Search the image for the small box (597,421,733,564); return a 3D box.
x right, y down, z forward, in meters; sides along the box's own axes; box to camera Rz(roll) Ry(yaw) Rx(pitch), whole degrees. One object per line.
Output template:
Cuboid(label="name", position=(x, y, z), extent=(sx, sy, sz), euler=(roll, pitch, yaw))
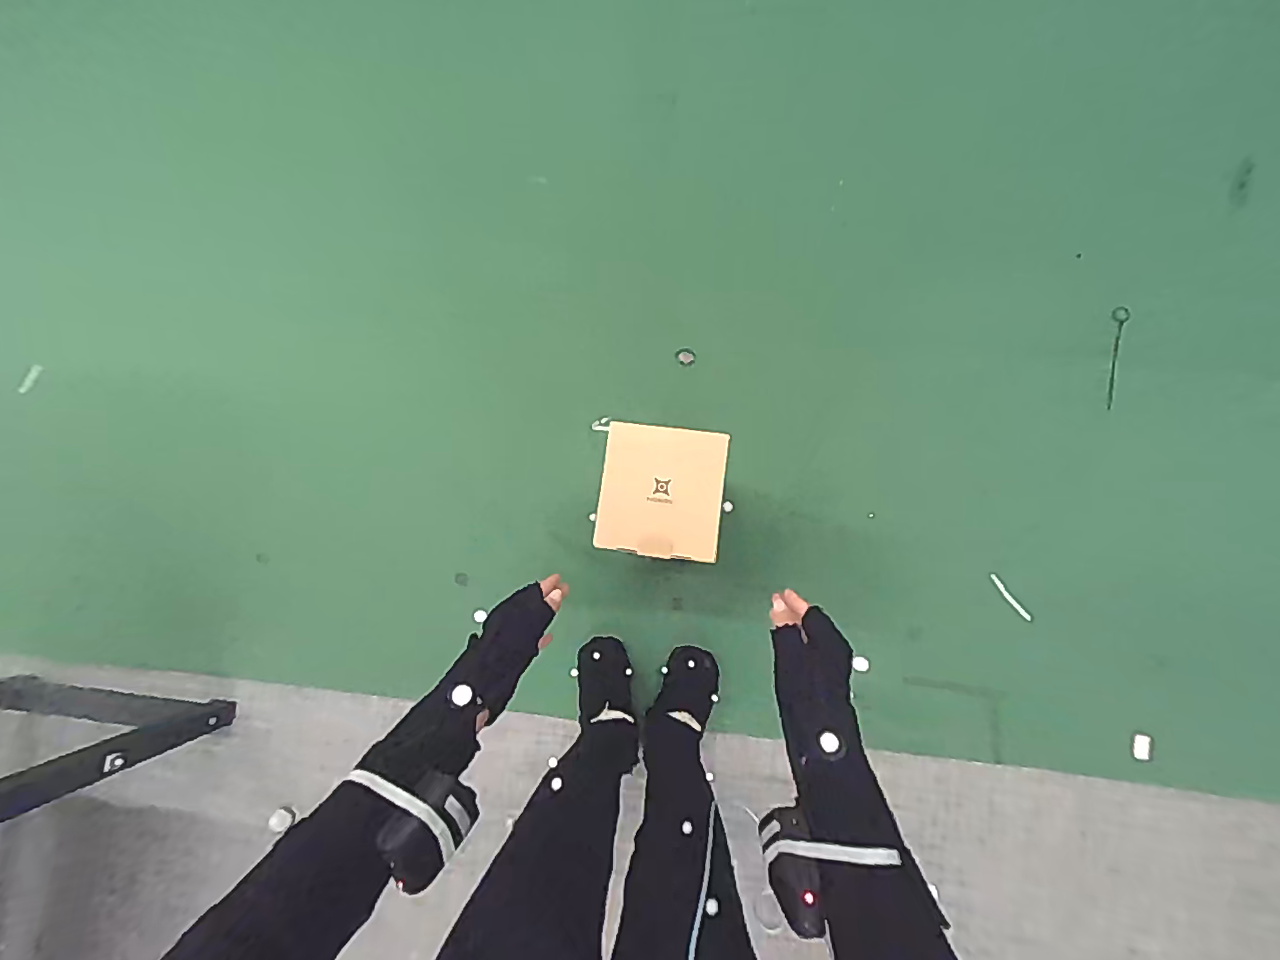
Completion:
Cuboid(label="small box", position=(0.037, 0.023, 0.802), extent=(0.168, 0.176, 0.179), euler=(7, 85, 4))
